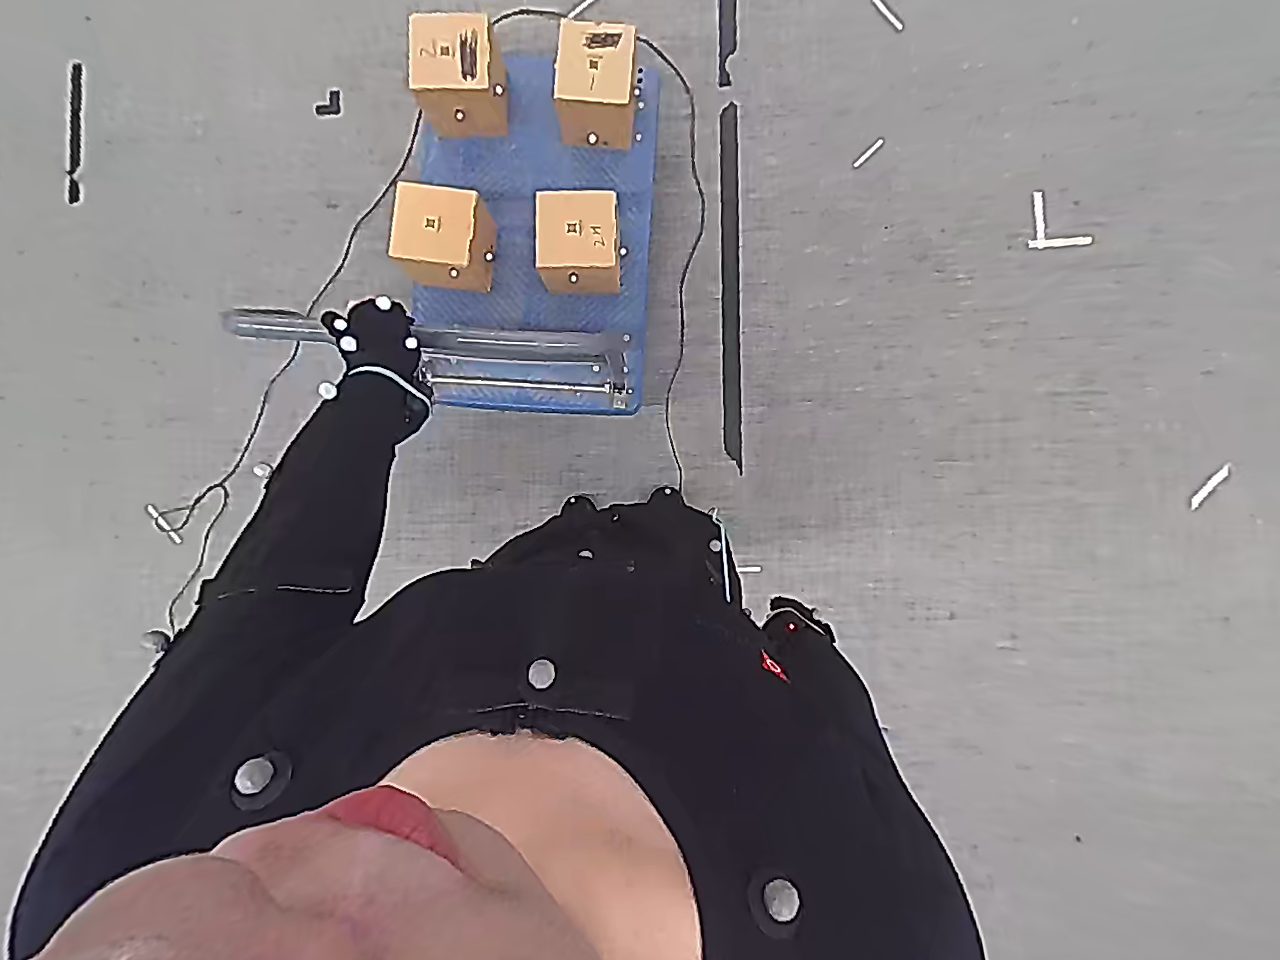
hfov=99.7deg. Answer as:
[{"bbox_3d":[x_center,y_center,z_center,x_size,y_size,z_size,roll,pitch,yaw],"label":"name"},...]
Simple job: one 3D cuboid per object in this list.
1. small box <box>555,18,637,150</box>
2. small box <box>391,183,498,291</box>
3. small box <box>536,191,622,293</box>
[{"bbox_3d":[-0.096,-0.902,1.244,0.168,0.176,0.179,5,91,0],"label":"small box"},{"bbox_3d":[-0.443,-0.550,1.245,0.179,0.176,0.168,6,89,-1],"label":"small box"},{"bbox_3d":[-0.134,-0.539,1.242,0.179,0.176,0.168,0,90,1],"label":"small box"}]
